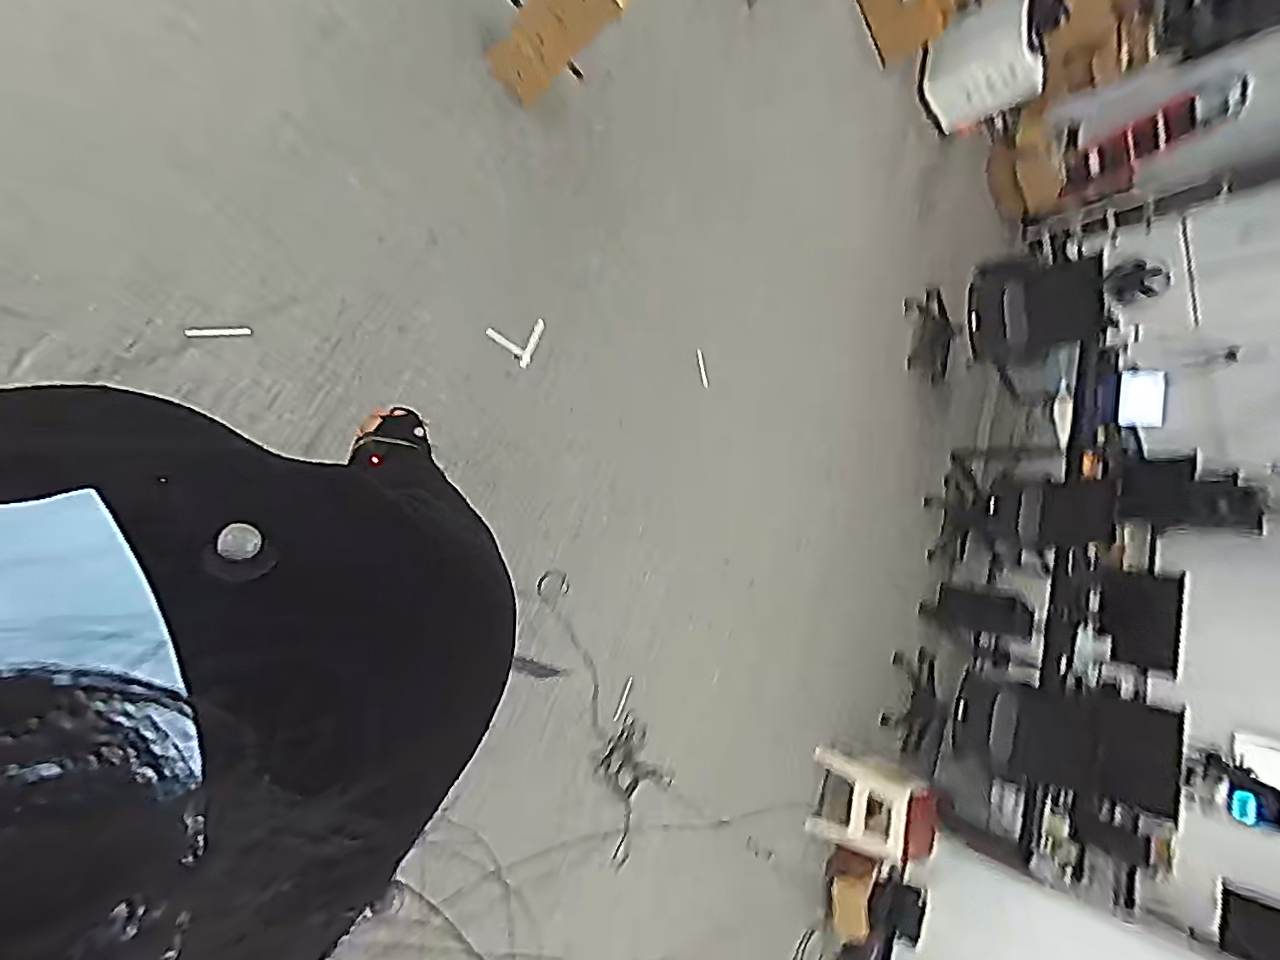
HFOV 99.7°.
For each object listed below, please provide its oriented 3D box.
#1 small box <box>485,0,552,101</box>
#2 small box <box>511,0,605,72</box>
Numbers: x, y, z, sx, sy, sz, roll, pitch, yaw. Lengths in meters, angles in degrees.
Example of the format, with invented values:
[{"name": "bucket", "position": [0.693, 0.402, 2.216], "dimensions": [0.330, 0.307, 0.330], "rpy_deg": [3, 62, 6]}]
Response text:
[{"name": "small box", "position": [-0.344, -1.299, 1.627], "dimensions": [0.168, 0.176, 0.179], "rpy_deg": [32, 69, -36]}, {"name": "small box", "position": [-0.233, -1.307, 1.508], "dimensions": [0.168, 0.176, 0.179], "rpy_deg": [34, 69, -35]}]
